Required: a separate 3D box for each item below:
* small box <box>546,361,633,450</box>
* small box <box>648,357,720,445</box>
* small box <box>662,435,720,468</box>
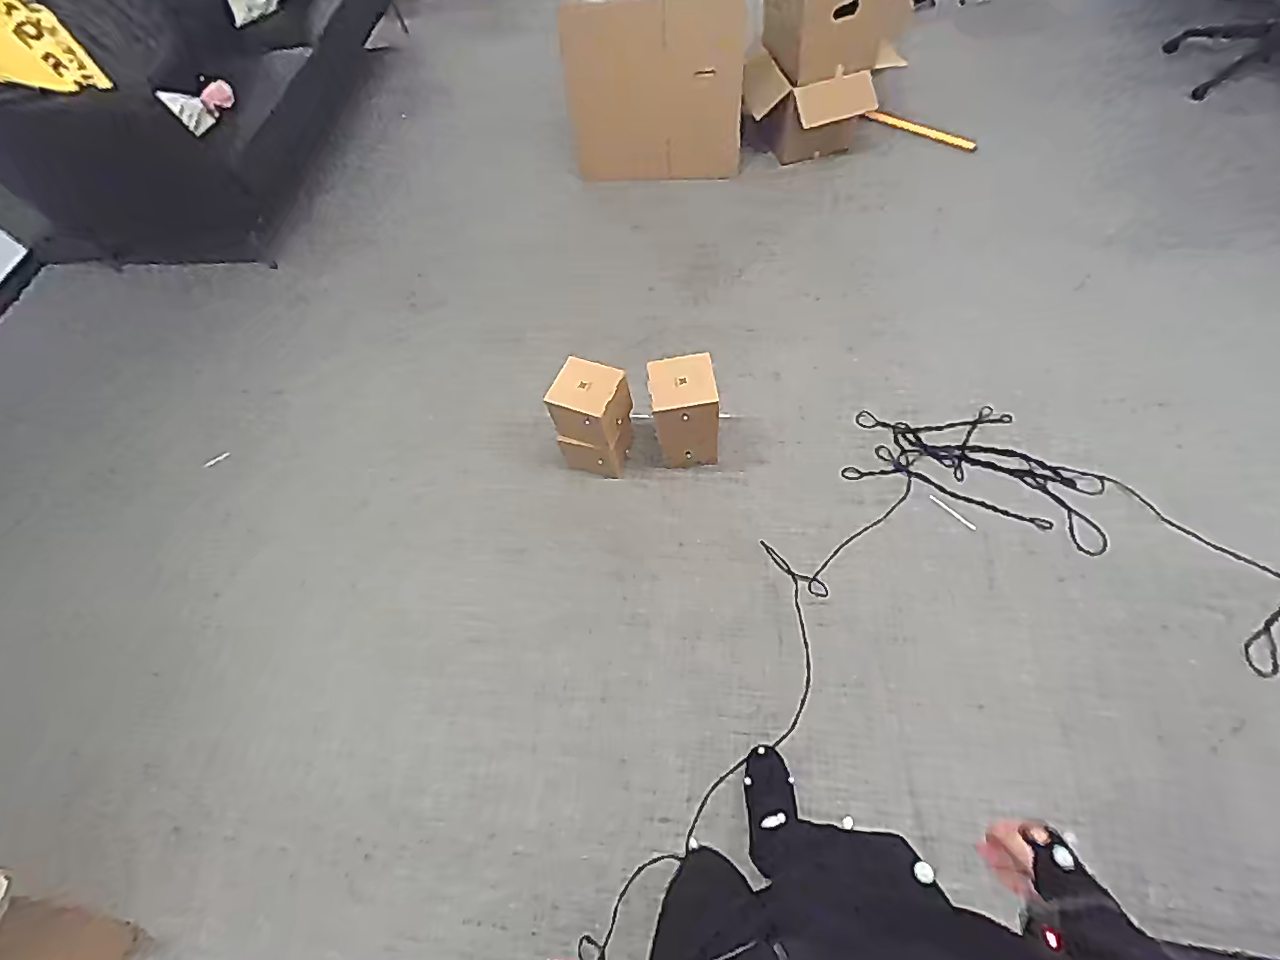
[{"bbox_3d":[-0.135,-0.207,1.533,0.179,0.176,0.168,18,65,16],"label":"small box"},{"bbox_3d":[0.124,-0.212,1.495,0.179,0.176,0.168,-8,61,4],"label":"small box"},{"bbox_3d":[0.153,-0.146,1.641,0.168,0.176,0.179,-4,61,6],"label":"small box"}]
